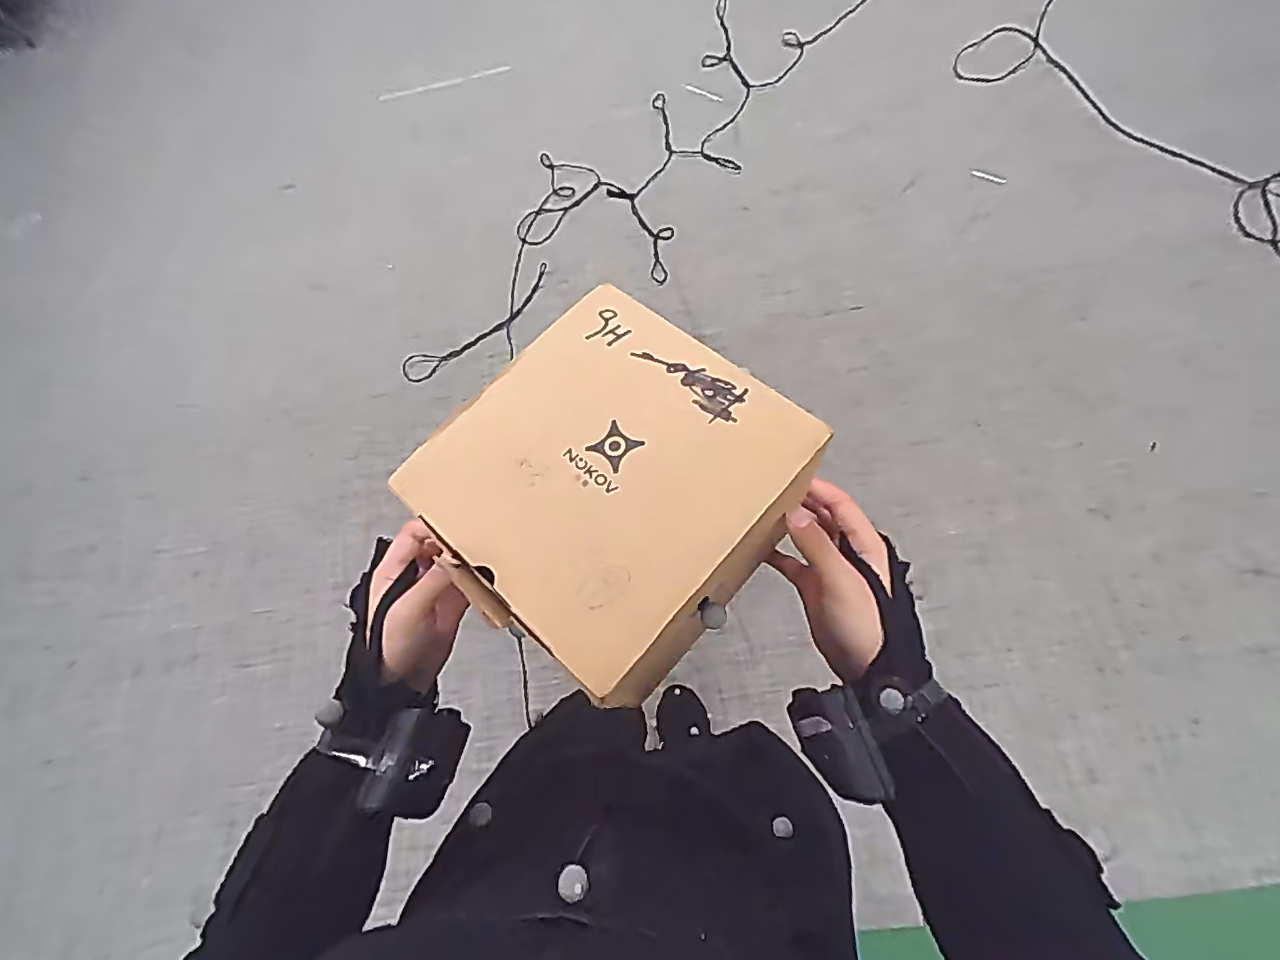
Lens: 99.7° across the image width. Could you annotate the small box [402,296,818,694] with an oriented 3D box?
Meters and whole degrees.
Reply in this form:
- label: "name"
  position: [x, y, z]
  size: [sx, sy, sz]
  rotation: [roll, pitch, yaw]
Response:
- label: "small box"
  position: [-0.010, 0.023, 0.366]
  size: [0.168, 0.176, 0.179]
  rotation: [39, 77, 20]
